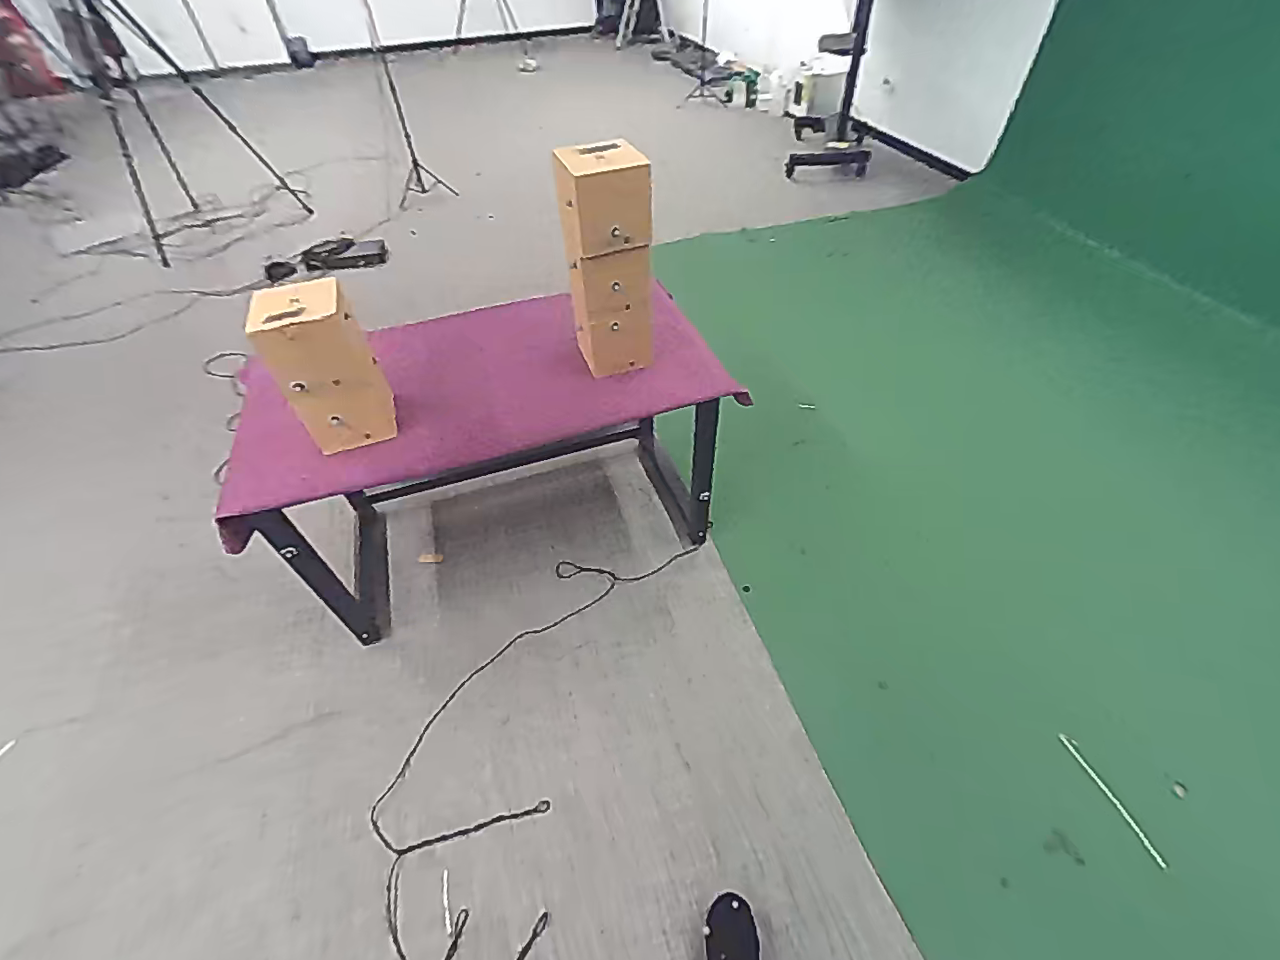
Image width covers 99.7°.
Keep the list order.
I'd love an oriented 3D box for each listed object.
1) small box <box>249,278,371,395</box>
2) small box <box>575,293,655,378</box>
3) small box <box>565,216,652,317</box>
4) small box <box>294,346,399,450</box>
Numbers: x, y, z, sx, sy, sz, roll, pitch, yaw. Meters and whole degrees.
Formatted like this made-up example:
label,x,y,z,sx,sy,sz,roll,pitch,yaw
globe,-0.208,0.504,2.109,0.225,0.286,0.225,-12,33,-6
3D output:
label,x,y,z,sx,sy,sz,roll,pitch,yaw
small box,-0.687,-0.299,1.148,0.168,0.176,0.179,-17,48,-12
small box,-0.065,-0.397,1.428,0.168,0.176,0.179,-17,48,-10
small box,-0.073,-0.510,1.307,0.168,0.176,0.179,-15,48,-11
small box,-0.682,-0.189,1.271,0.168,0.176,0.179,-17,49,-13
